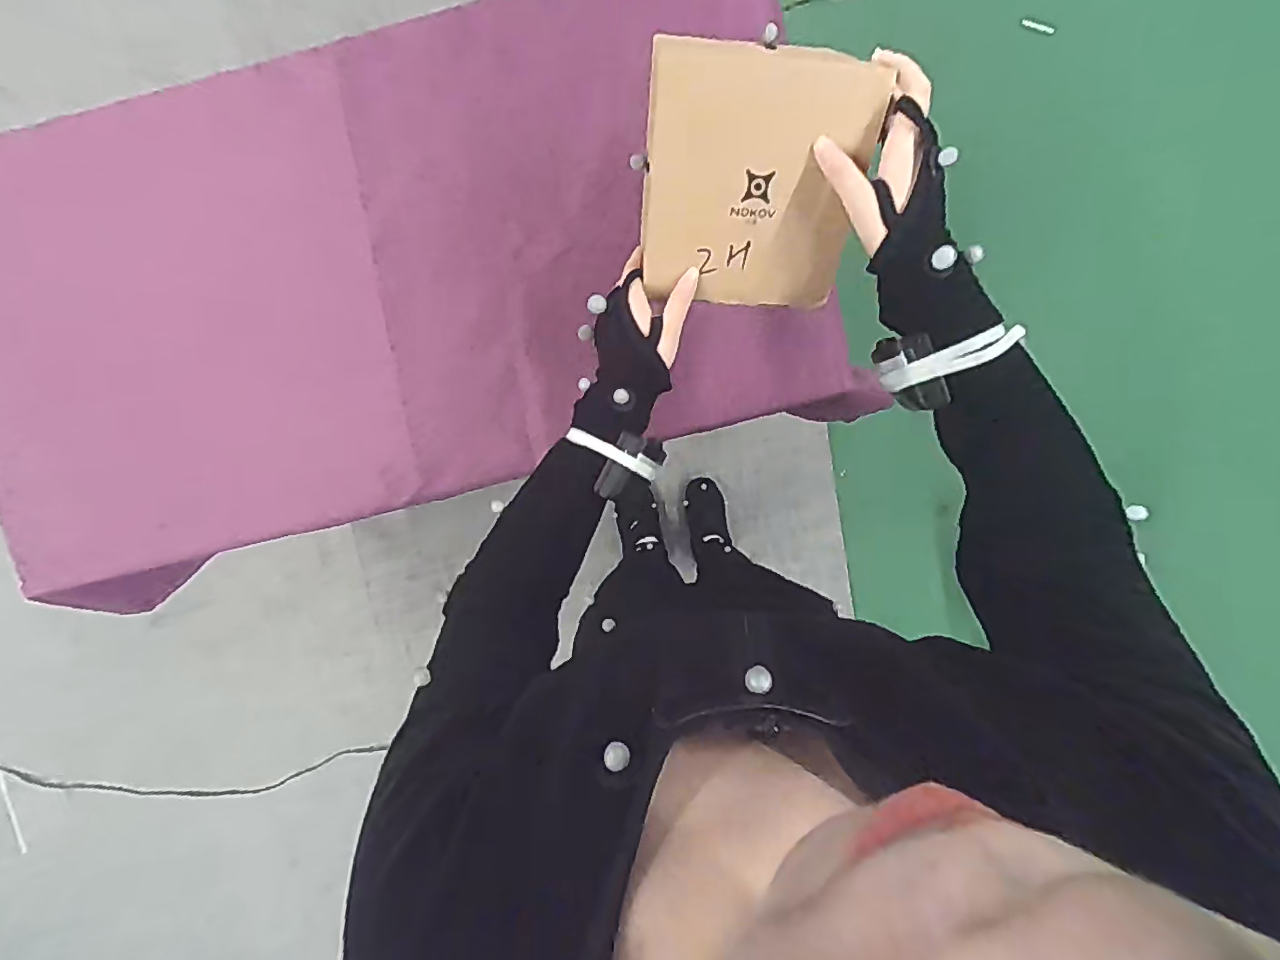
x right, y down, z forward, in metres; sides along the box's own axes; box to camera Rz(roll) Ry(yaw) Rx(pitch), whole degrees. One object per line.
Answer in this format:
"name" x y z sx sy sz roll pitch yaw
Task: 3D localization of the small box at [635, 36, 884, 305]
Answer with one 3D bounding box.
"small box" 0.083 -0.279 0.486 0.168 0.176 0.179 3 132 -3
